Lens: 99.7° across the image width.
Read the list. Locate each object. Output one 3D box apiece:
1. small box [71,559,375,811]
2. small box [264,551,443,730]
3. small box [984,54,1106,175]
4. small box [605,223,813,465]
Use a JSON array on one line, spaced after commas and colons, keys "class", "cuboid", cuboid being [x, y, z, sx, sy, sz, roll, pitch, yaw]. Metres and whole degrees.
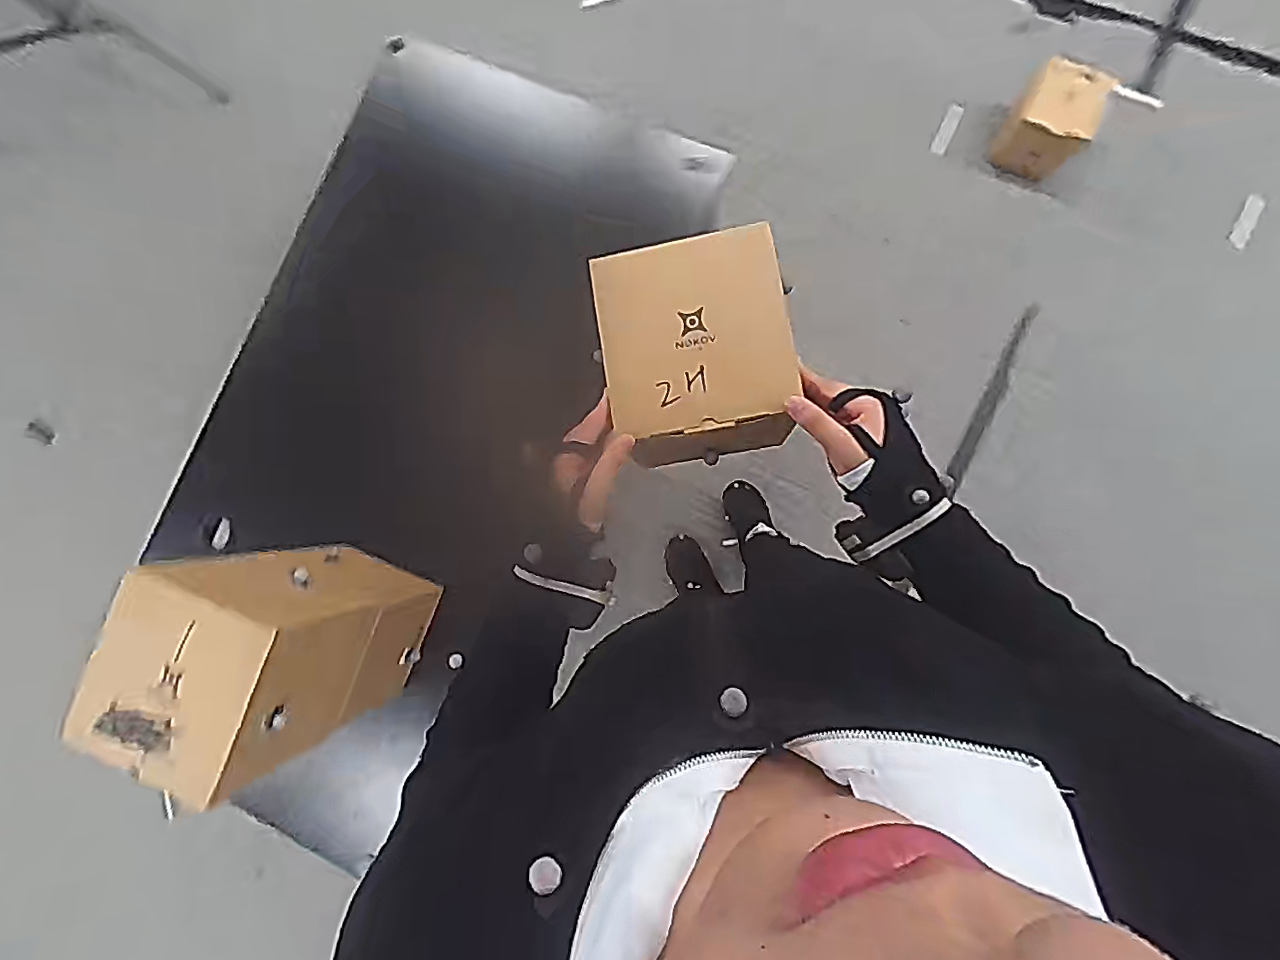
[{"class": "small box", "cuboid": [-0.421, 0.197, 0.577, 0.168, 0.176, 0.179, 20, 89, 6]}, {"class": "small box", "cuboid": [-0.408, 0.203, 0.741, 0.179, 0.176, 0.168, 20, 90, 5]}, {"class": "small box", "cuboid": [1.038, -0.939, 1.406, 0.168, 0.176, 0.179, 23, 90, 6]}, {"class": "small box", "cuboid": [0.066, -0.121, 0.551, 0.168, 0.176, 0.179, -8, 82, 7]}]
